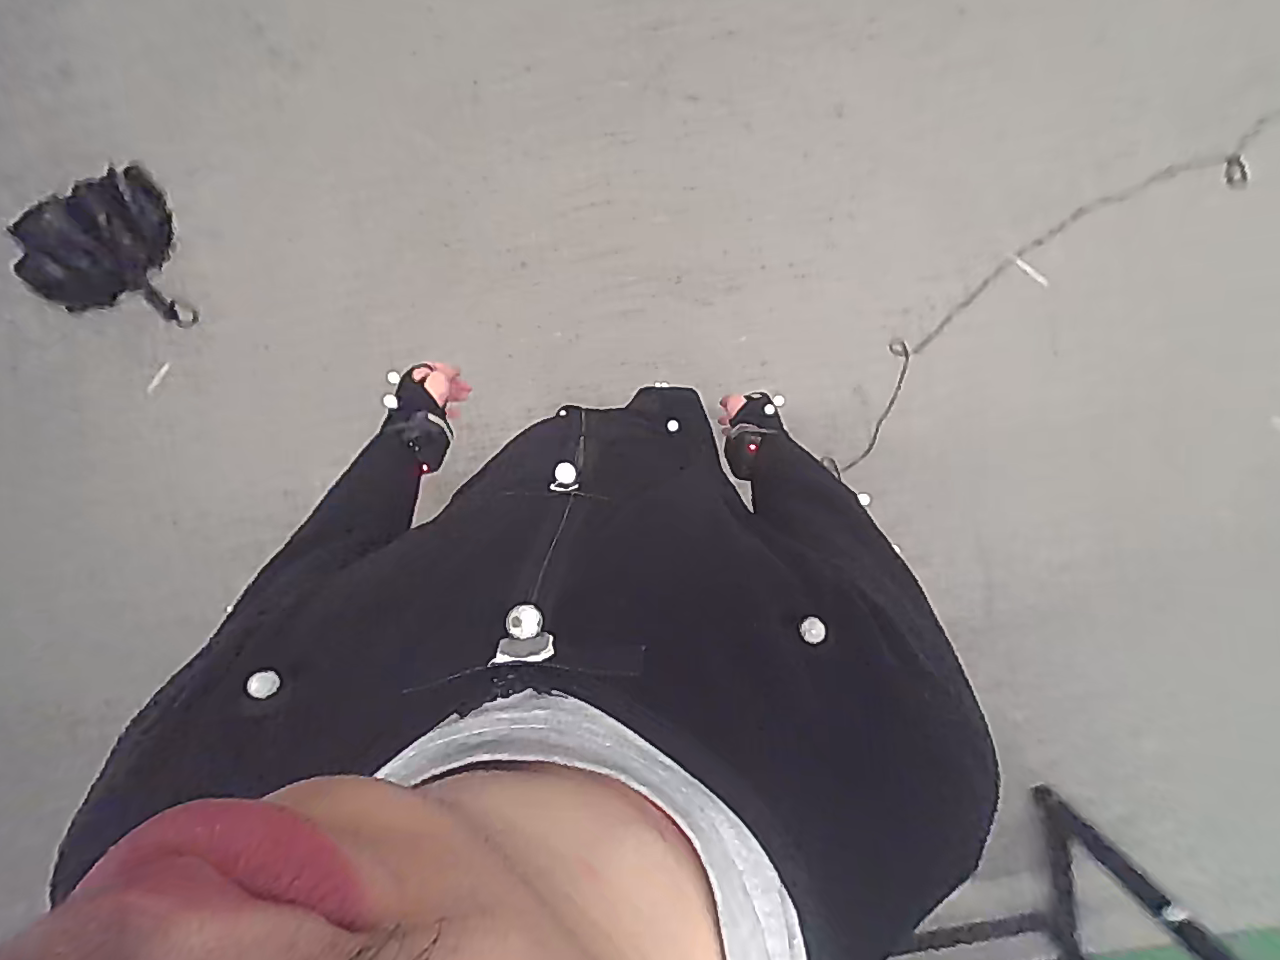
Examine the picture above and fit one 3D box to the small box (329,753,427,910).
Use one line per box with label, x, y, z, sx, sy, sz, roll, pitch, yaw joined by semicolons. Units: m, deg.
small box;-0.501;0.612;0.961;0.168;0.176;0.179;-8;96;1
